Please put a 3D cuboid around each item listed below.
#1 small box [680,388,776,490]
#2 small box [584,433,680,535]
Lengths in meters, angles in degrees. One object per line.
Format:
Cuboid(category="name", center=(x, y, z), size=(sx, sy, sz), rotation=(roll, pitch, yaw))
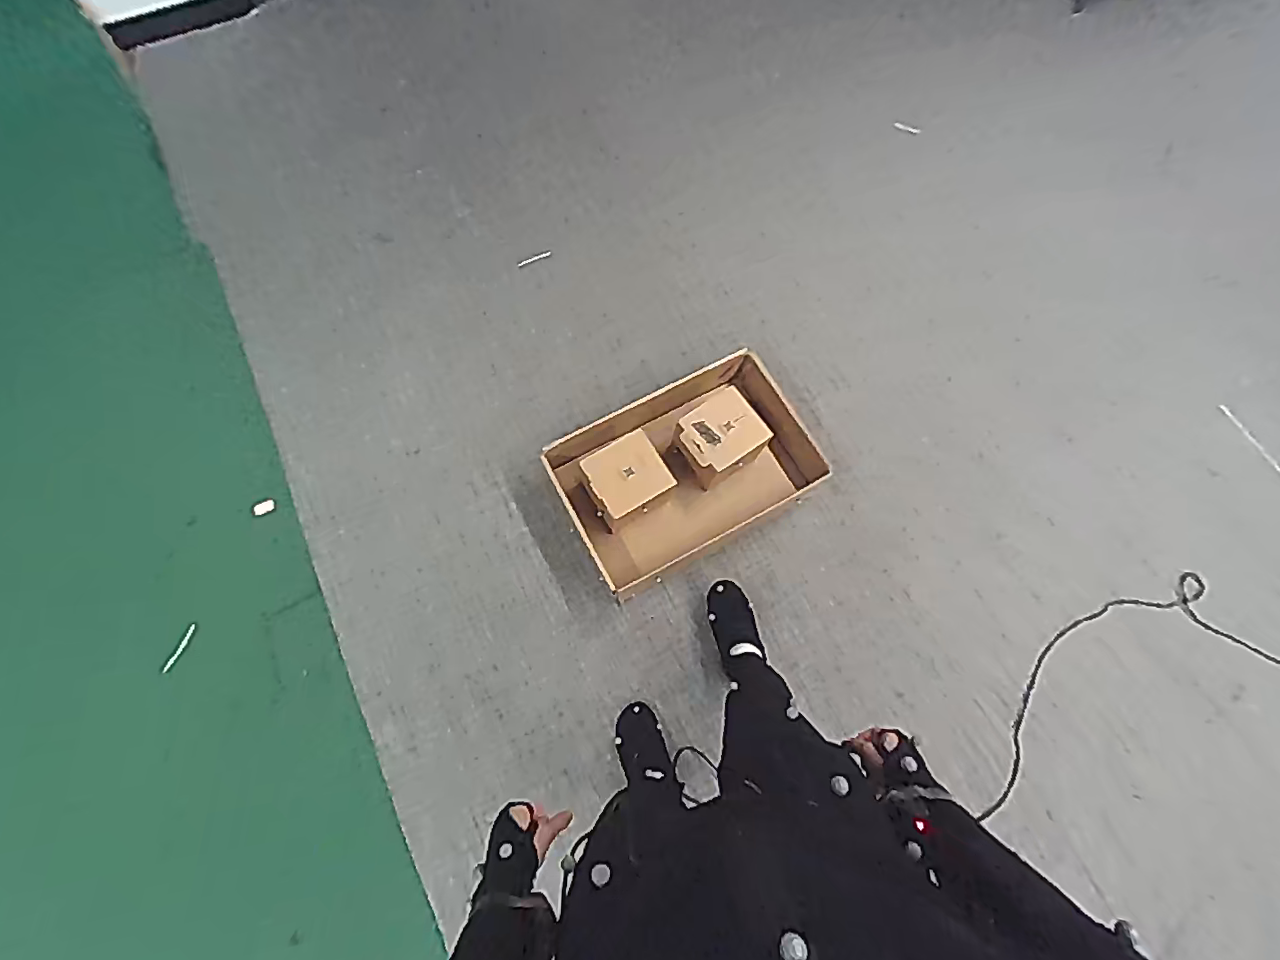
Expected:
Cuboid(category="small box", center=(0.215, -0.097, 1.386), size=(0.179, 0.176, 0.168), rotation=(-34, 77, -11))
Cuboid(category="small box", center=(-0.021, 0.017, 1.344), size=(0.179, 0.176, 0.168), rotation=(-31, 77, -12))
